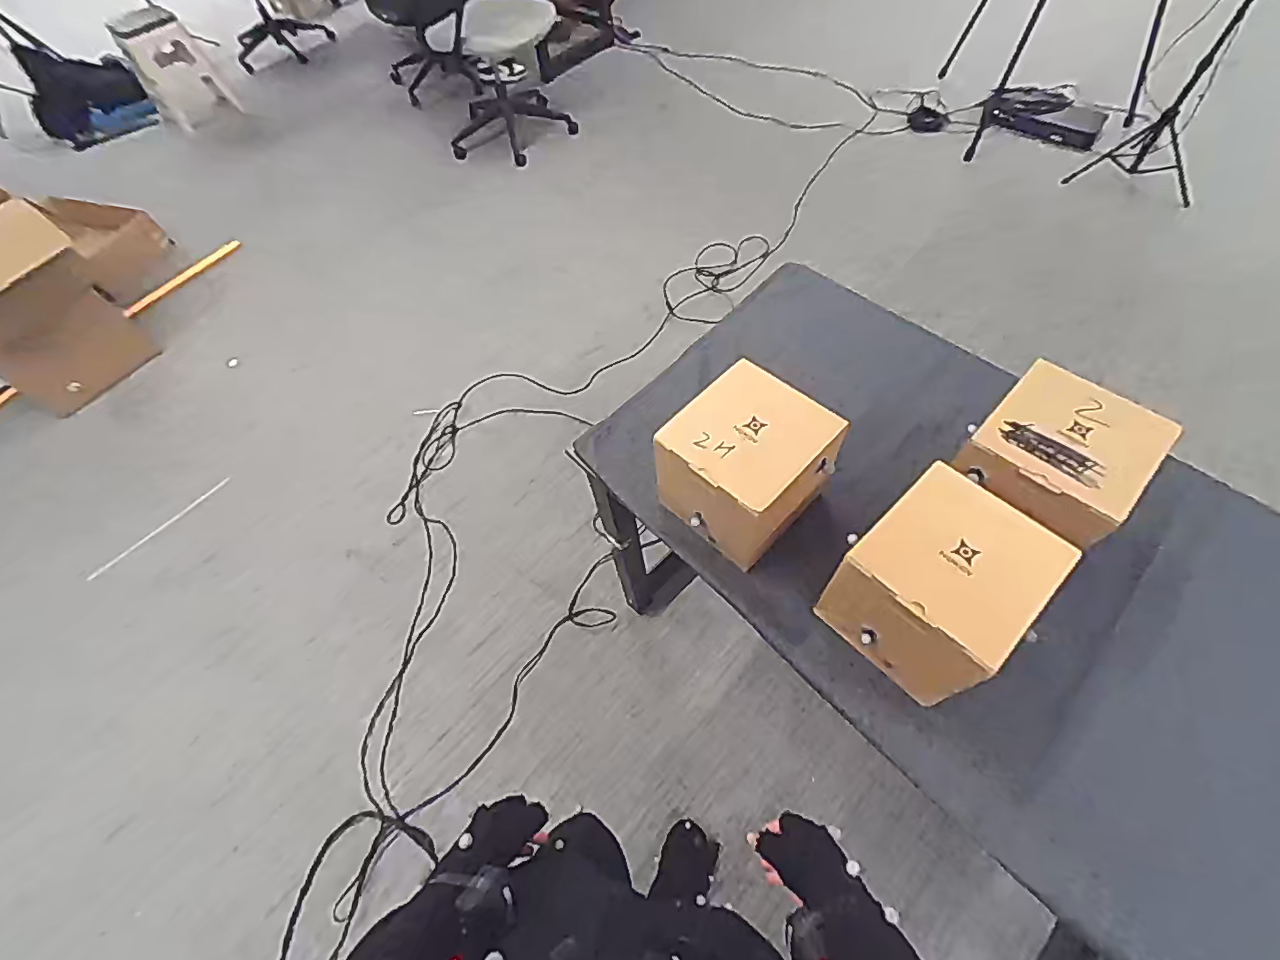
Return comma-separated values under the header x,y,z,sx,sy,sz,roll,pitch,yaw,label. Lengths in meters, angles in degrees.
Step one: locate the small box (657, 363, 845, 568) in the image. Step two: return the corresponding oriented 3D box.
x,y,z,sx,sy,sz,roll,pitch,yaw,label
0.140,-0.016,0.730,0.168,0.176,0.179,39,69,25,small box
